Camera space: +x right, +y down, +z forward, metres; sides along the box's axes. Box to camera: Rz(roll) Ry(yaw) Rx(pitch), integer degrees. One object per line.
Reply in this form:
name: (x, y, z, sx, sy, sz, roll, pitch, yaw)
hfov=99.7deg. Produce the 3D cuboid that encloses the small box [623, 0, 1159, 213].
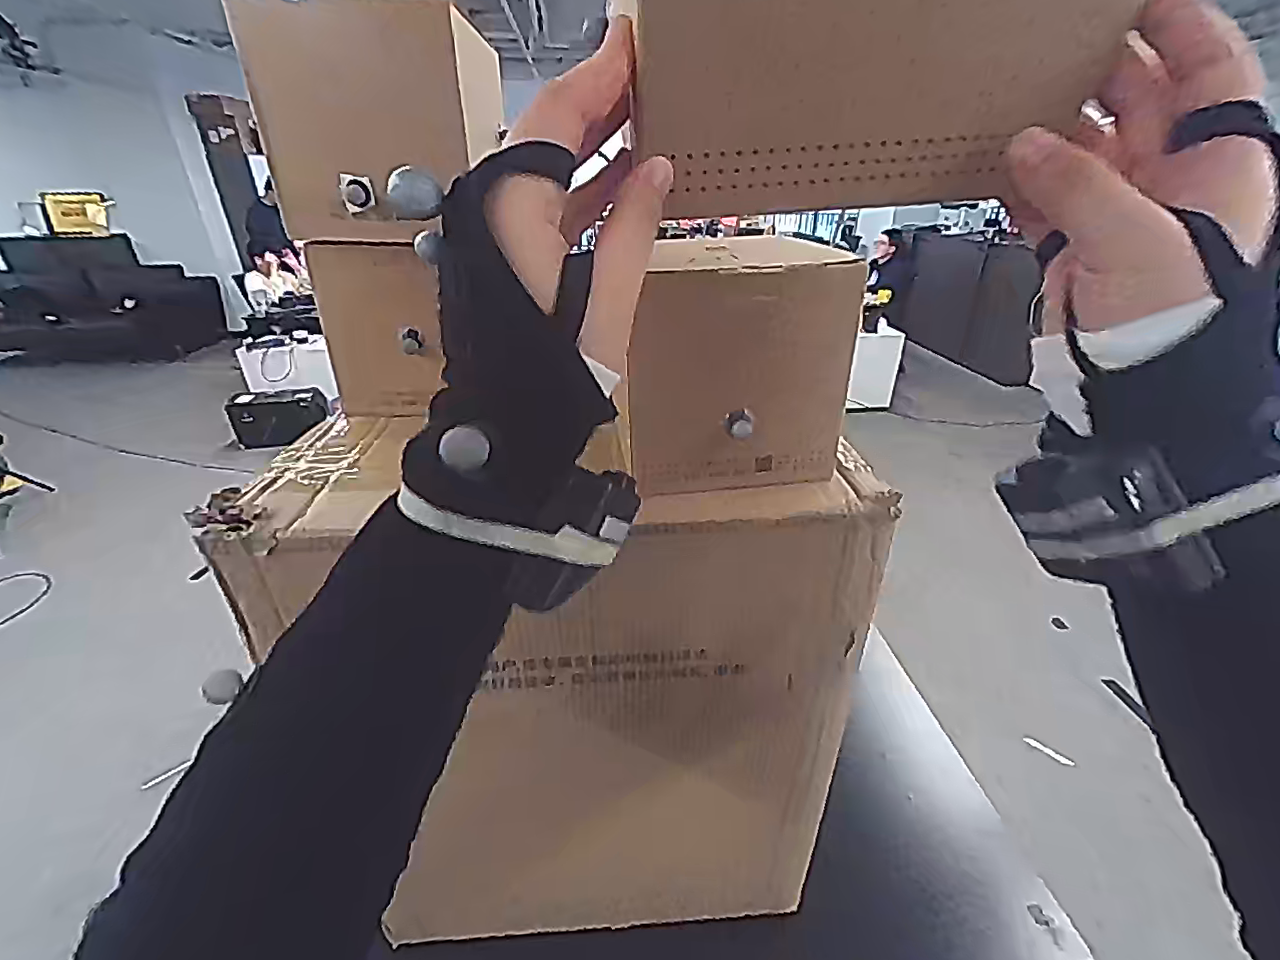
small box: (0.082, -0.221, 0.201, 0.179, 0.176, 0.168, -5, 57, -4)

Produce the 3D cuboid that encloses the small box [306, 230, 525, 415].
small box: (-0.221, -0.177, 0.592, 0.168, 0.176, 0.179, -1, 29, -4)

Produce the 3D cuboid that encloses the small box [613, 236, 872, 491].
small box: (0.066, -0.107, 0.461, 0.168, 0.176, 0.179, -5, 30, -5)

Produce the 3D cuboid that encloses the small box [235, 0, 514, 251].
small box: (-0.216, -0.313, 0.501, 0.168, 0.176, 0.179, -1, 29, -2)
